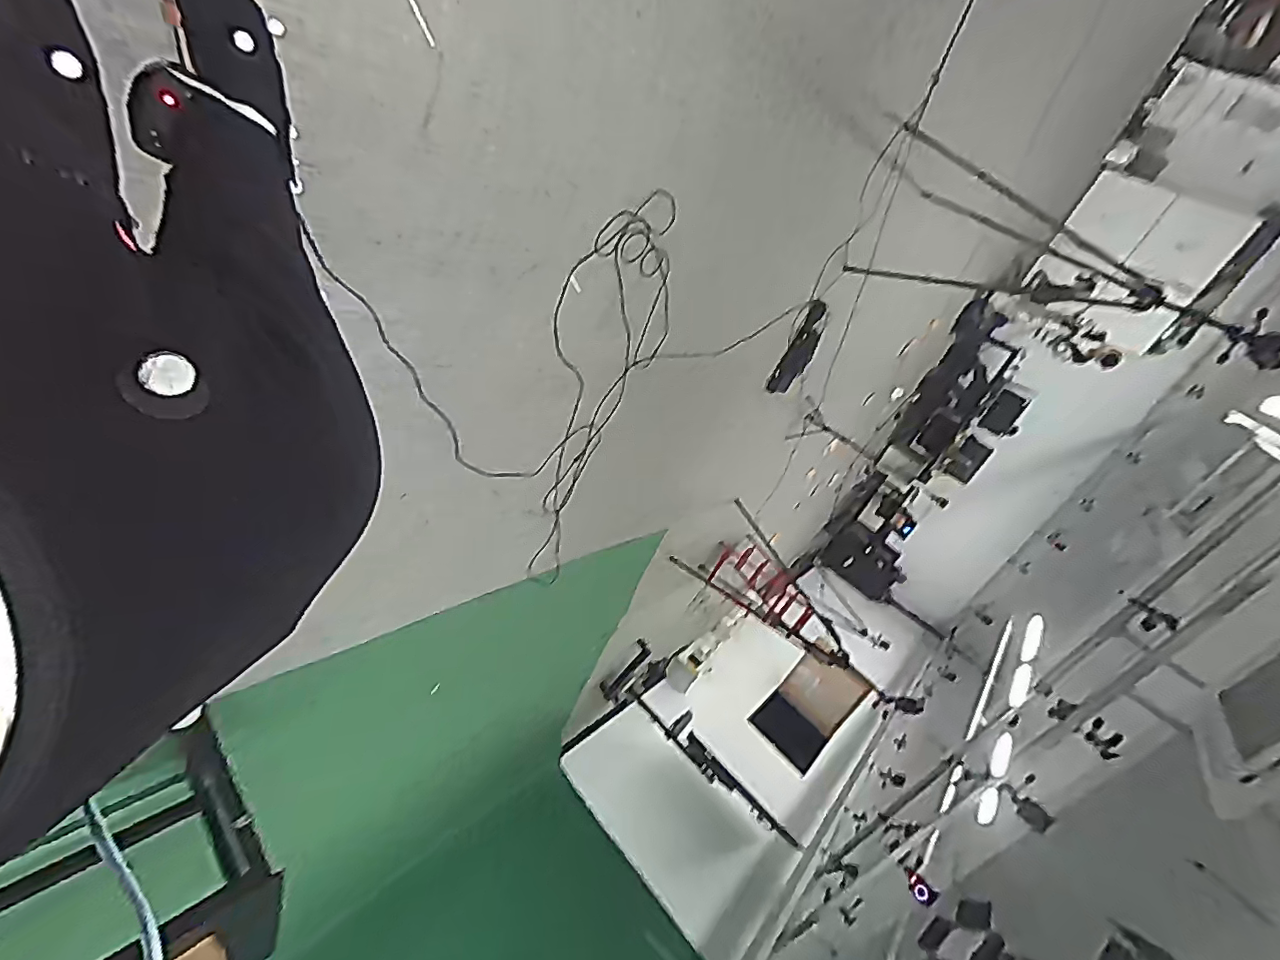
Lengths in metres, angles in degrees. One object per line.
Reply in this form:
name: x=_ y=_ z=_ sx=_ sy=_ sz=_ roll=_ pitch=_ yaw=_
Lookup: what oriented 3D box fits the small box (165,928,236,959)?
small box: x=-1.187 y=1.357 z=1.447 sx=0.168 sy=0.176 sz=0.179 roll=-22 pitch=142 yaw=-42
